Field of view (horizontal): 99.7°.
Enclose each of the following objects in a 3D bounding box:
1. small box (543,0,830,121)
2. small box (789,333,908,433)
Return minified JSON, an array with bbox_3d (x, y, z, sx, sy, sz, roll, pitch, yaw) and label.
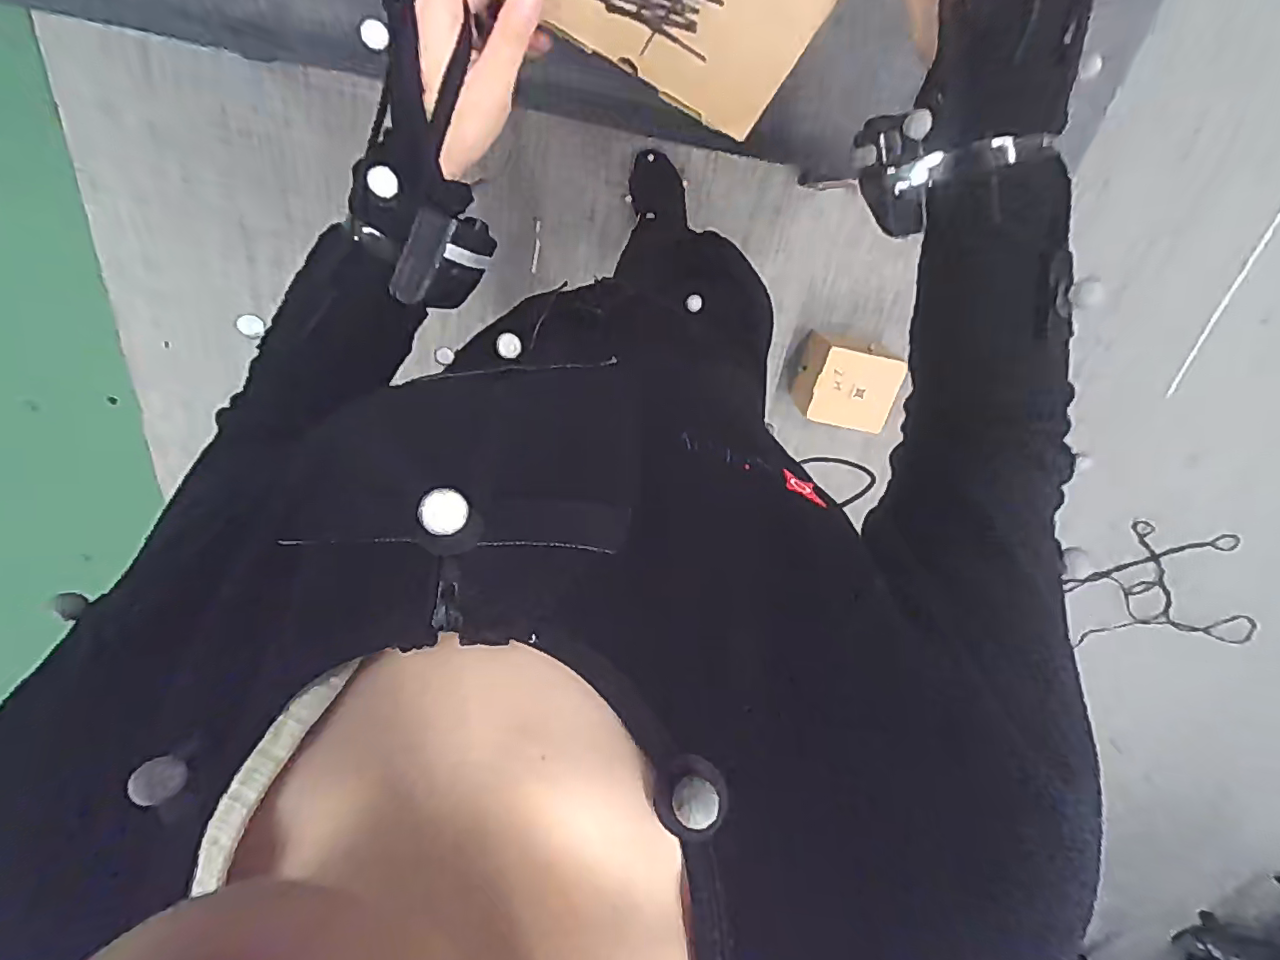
[{"bbox_3d":[0.040,-0.349,0.278,0.168,0.176,0.179,16,150,-21],"label":"small box"},{"bbox_3d":[0.459,-0.225,1.222,0.179,0.176,0.168,11,116,-3],"label":"small box"}]
